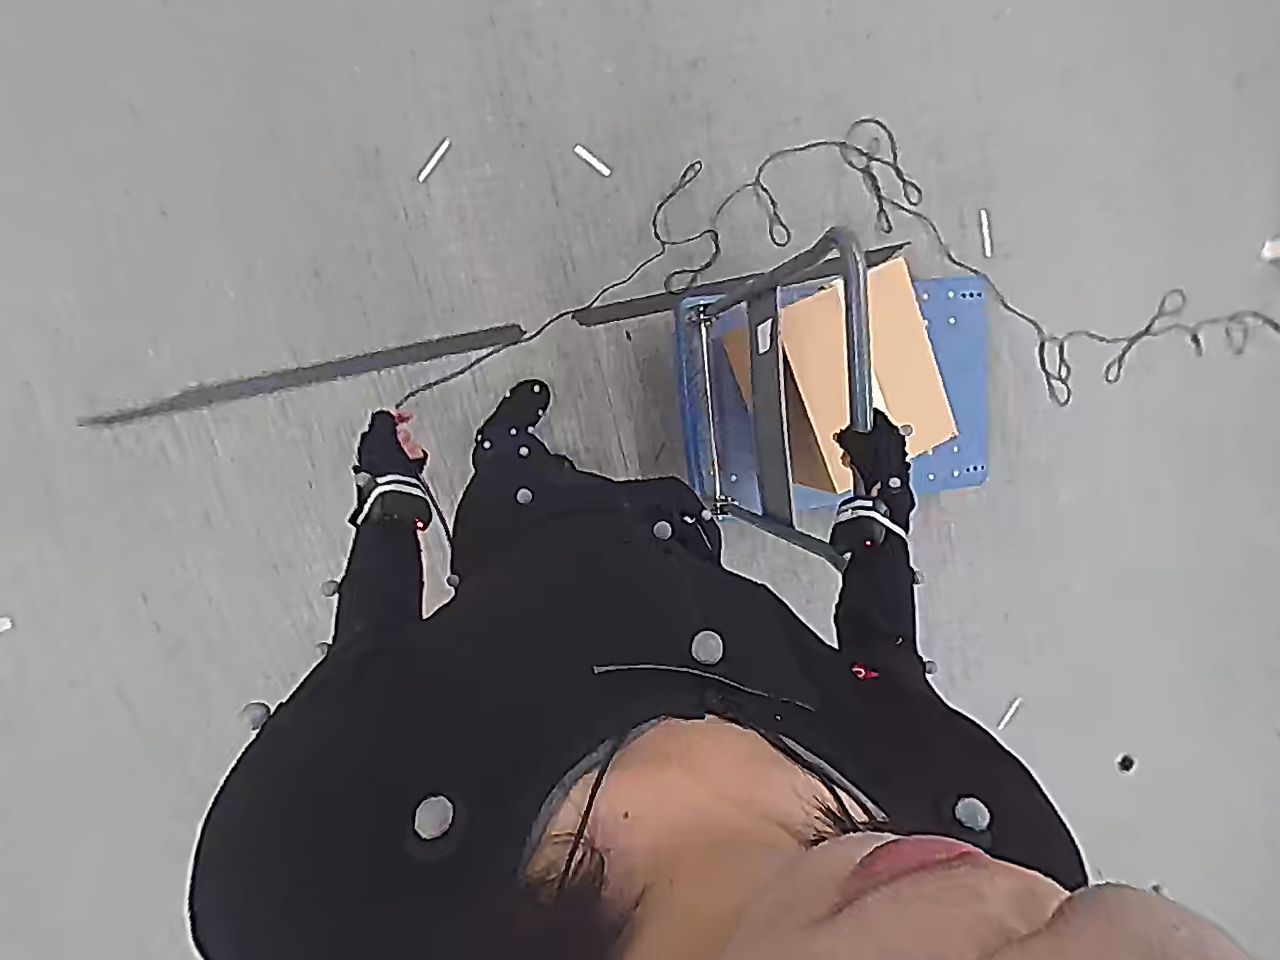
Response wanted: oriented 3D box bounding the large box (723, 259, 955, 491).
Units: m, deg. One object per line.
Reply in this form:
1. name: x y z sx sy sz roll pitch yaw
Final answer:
1. large box: 0.445 -0.232 1.267 0.320 0.320 0.408 -25 101 -7
